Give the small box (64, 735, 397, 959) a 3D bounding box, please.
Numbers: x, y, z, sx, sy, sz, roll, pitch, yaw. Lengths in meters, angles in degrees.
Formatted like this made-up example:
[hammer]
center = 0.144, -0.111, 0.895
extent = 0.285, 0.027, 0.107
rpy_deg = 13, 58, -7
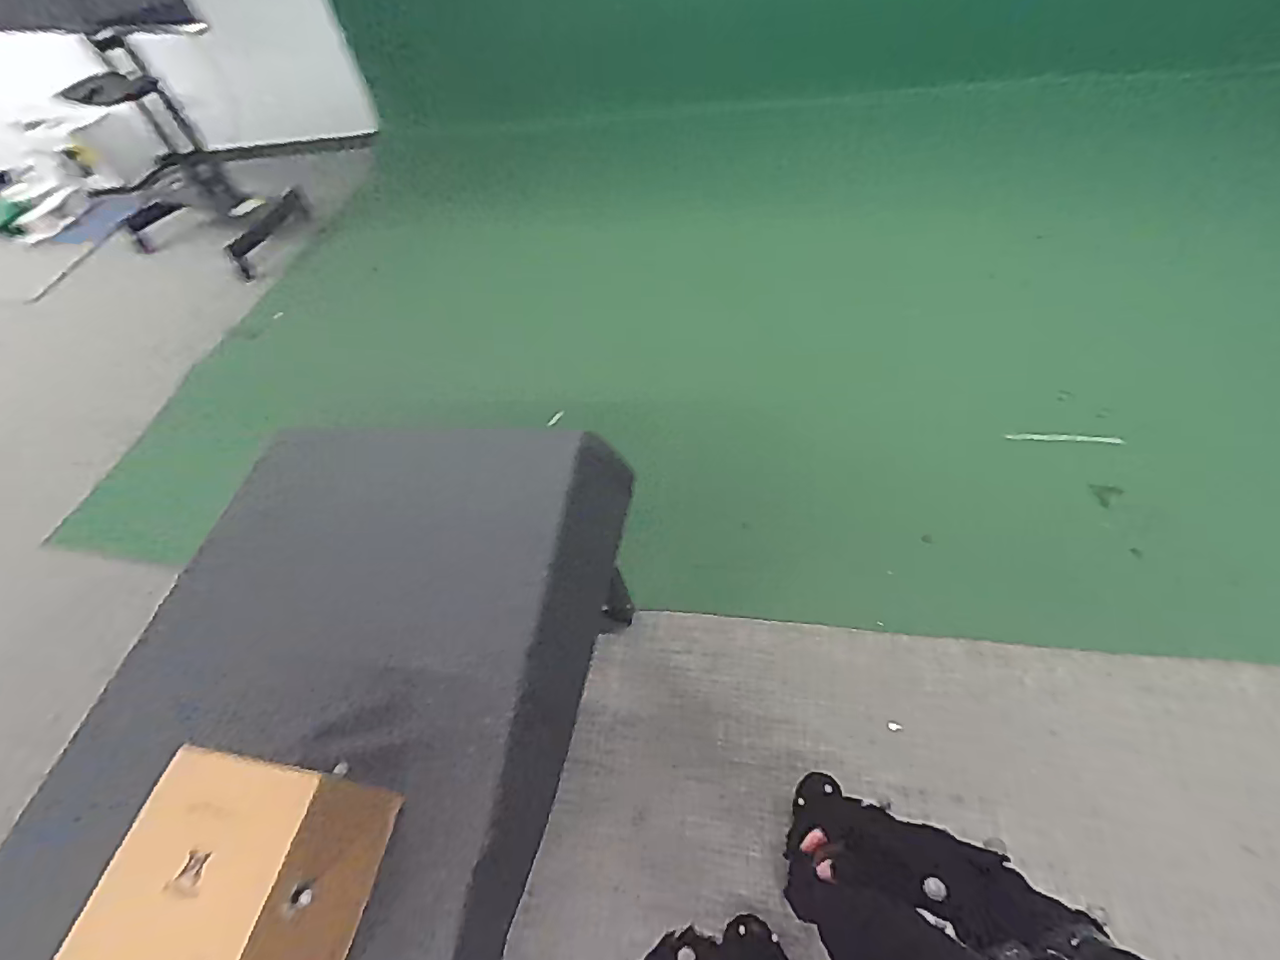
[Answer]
[small box]
center = -0.383, 0.381, 0.550
extent = 0.168, 0.176, 0.179
rpy_deg = 4, 54, 11
